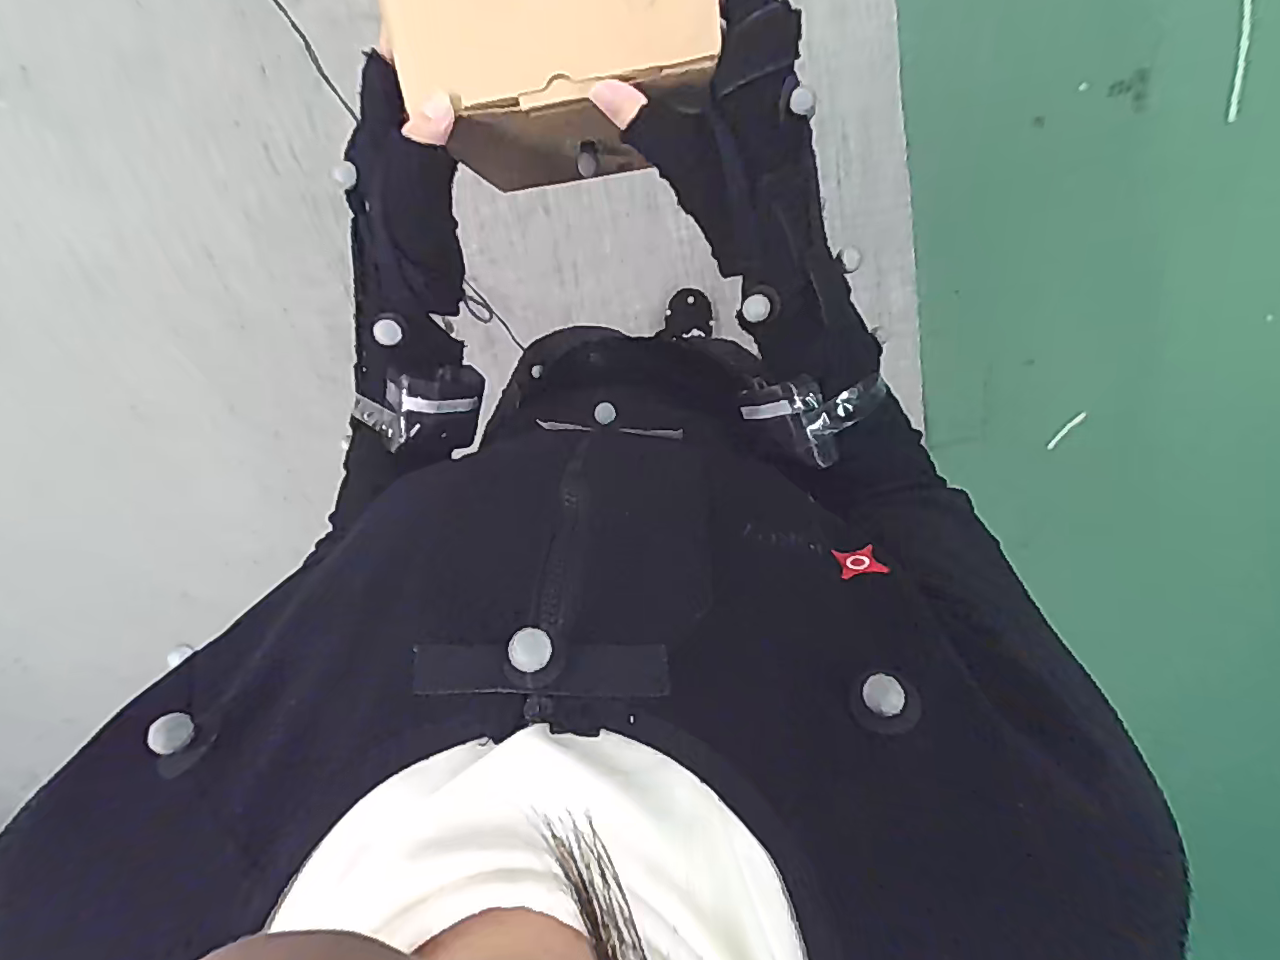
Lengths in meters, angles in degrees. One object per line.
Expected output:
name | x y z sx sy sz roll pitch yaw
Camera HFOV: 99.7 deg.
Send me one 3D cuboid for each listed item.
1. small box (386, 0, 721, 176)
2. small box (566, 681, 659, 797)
small box | -0.045 -0.302 0.327 0.168 0.176 0.179 -7 107 6
small box | -0.056 0.593 1.252 0.179 0.176 0.168 -12 107 6
